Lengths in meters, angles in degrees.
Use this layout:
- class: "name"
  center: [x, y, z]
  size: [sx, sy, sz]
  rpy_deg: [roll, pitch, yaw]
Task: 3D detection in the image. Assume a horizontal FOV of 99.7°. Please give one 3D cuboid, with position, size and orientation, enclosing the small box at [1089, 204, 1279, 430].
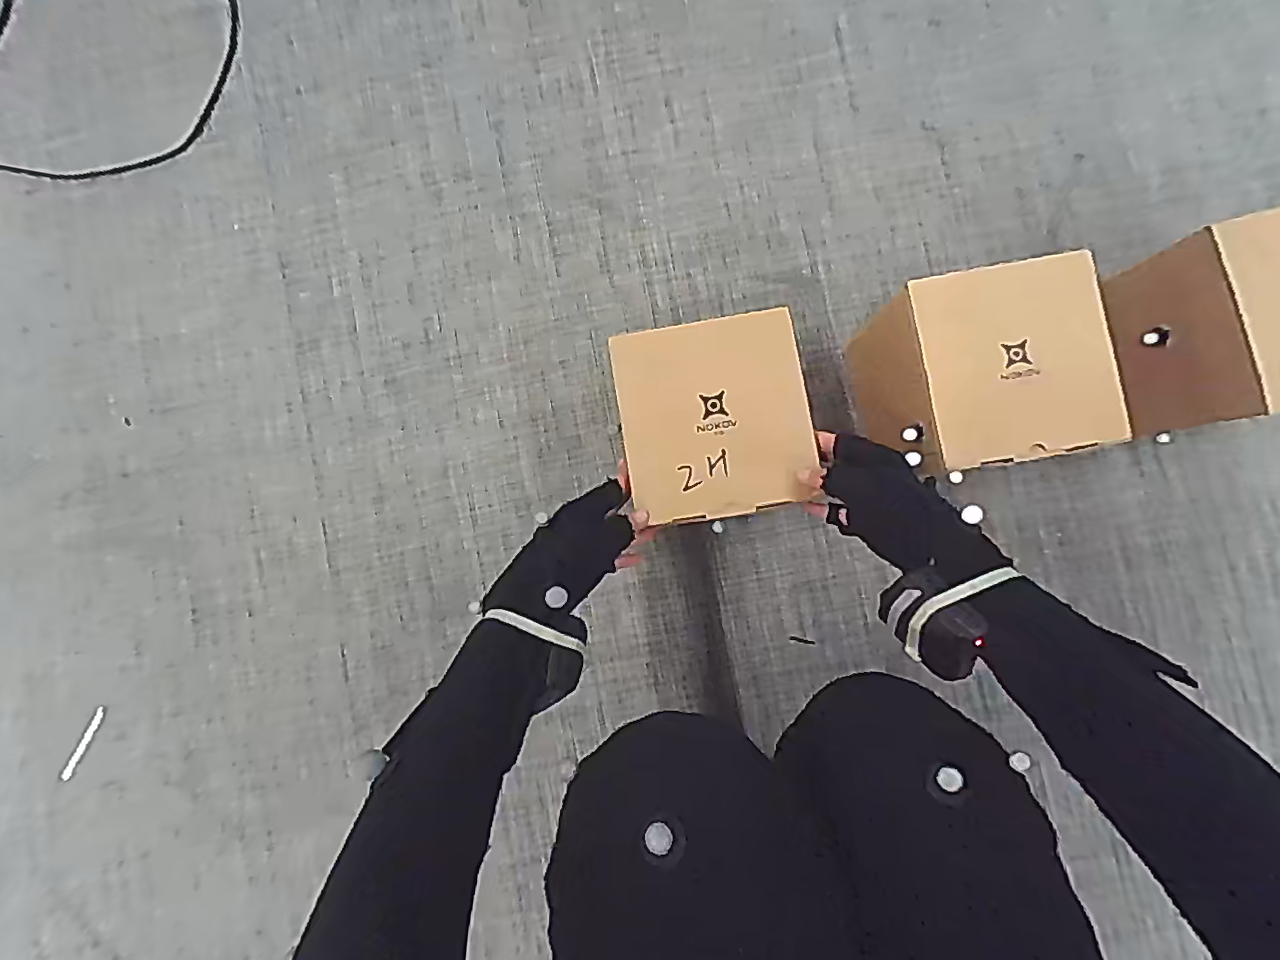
- class: "small box"
  center: [0.589, -0.153, 0.543]
  size: [0.168, 0.176, 0.179]
  rpy_deg: [-13, 85, 2]

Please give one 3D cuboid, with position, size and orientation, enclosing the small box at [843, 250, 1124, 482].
- class: "small box"
  center: [0.326, -0.101, 0.553]
  size: [0.168, 0.176, 0.179]
  rpy_deg: [-10, 86, 2]

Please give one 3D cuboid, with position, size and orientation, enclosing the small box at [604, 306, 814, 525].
- class: "small box"
  center: [0.062, -0.051, 0.555]
  size: [0.168, 0.176, 0.179]
  rpy_deg: [-9, 84, 3]
